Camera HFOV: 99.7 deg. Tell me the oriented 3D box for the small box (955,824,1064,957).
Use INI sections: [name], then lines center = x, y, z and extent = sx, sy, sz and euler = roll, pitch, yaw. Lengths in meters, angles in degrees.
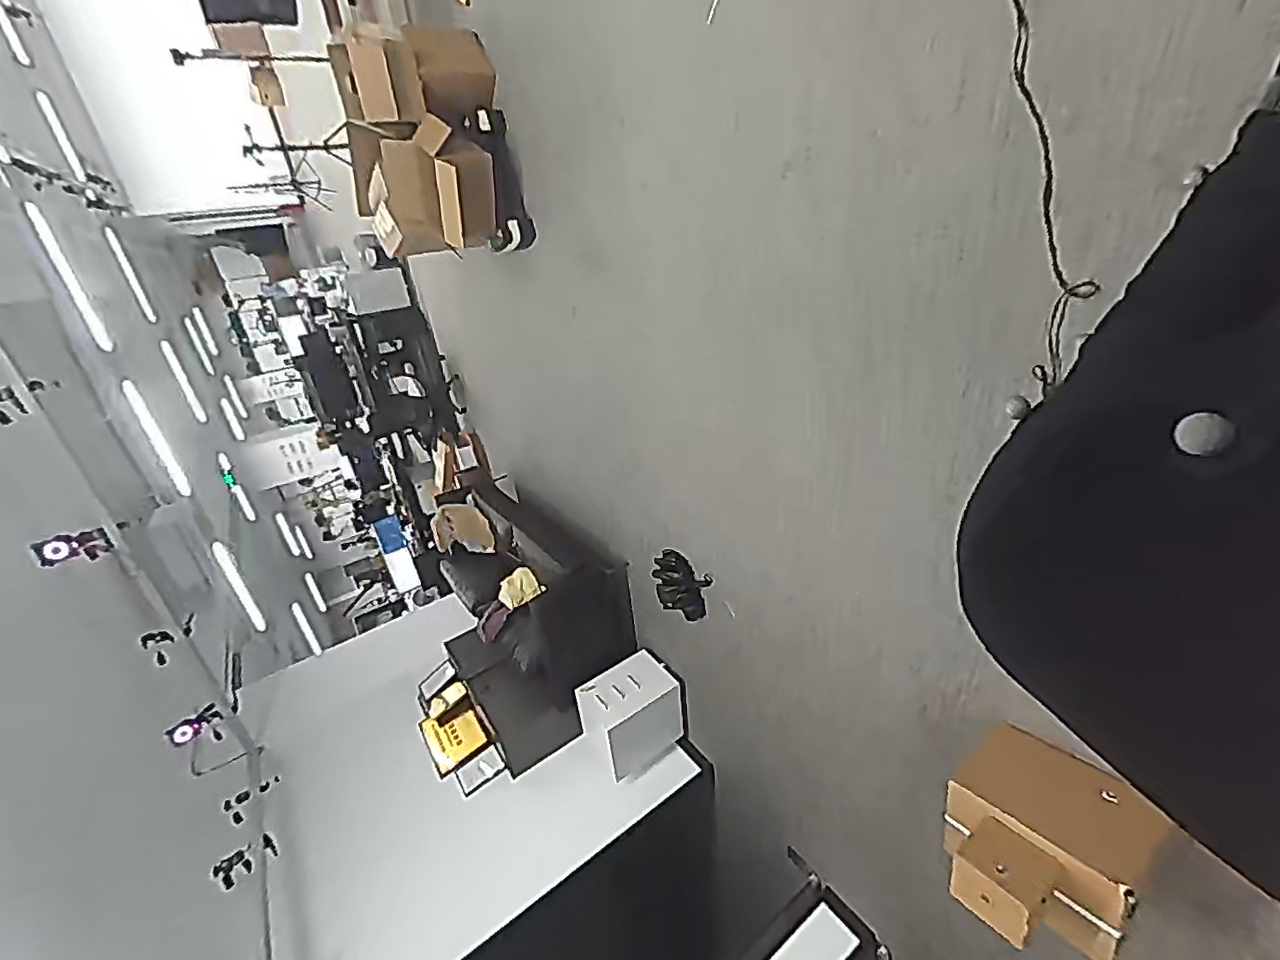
[small box]
center = 0.939, 1.034, 1.378
extent = 0.179, 0.176, 0.168
euler = 23, 127, 54
